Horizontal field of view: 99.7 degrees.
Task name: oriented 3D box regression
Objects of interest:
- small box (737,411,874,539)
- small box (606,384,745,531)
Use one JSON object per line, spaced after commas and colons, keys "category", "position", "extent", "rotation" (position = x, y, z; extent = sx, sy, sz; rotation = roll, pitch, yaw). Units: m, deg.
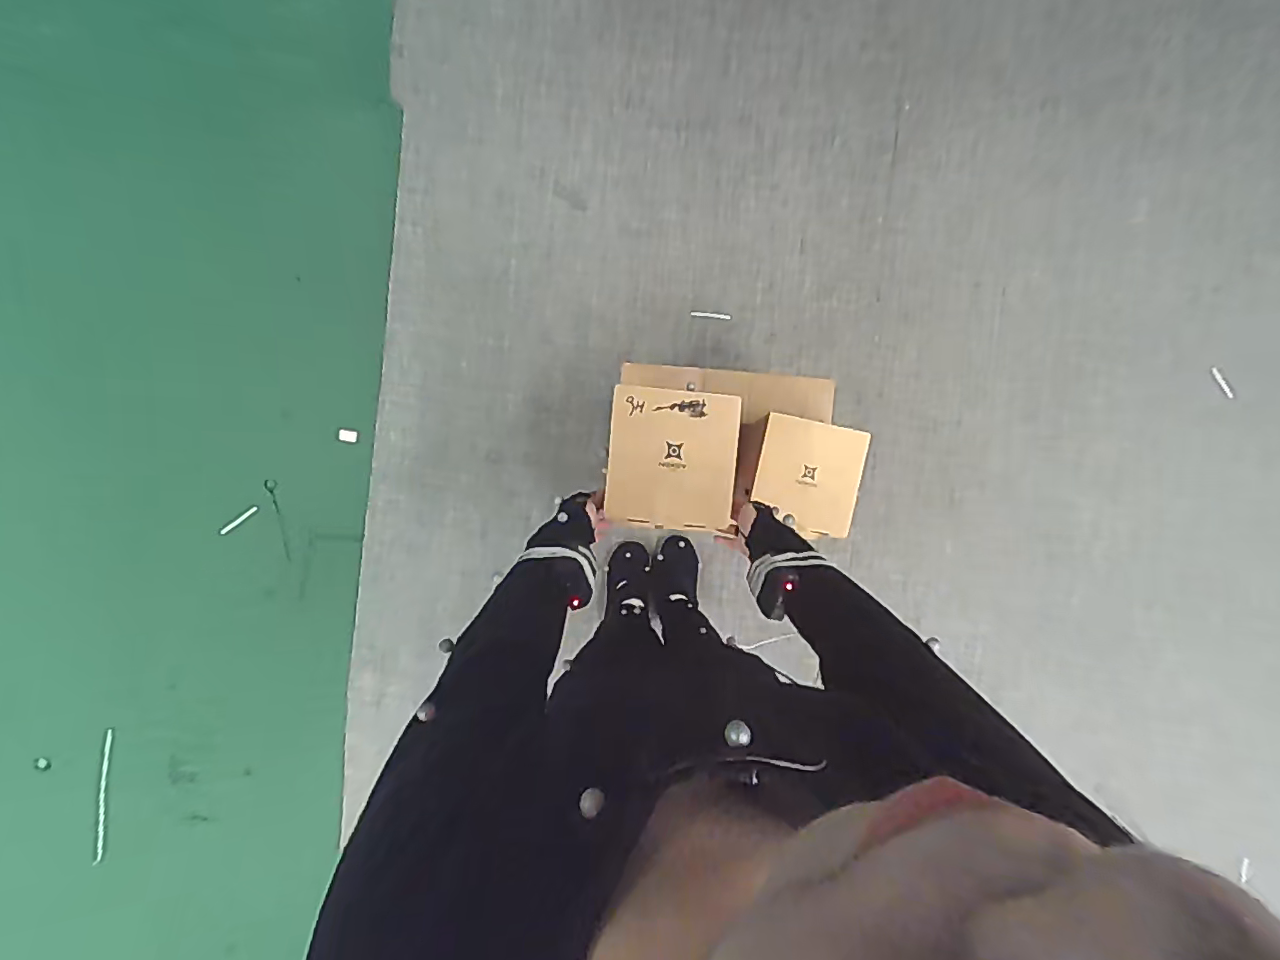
{"category": "small box", "position": [0.272, -0.009, 0.927], "extent": [0.168, 0.176, 0.179], "rotation": [12, 91, 1]}
{"category": "small box", "position": [0.043, -0.032, 0.764], "extent": [0.168, 0.176, 0.179], "rotation": [4, 93, -2]}
